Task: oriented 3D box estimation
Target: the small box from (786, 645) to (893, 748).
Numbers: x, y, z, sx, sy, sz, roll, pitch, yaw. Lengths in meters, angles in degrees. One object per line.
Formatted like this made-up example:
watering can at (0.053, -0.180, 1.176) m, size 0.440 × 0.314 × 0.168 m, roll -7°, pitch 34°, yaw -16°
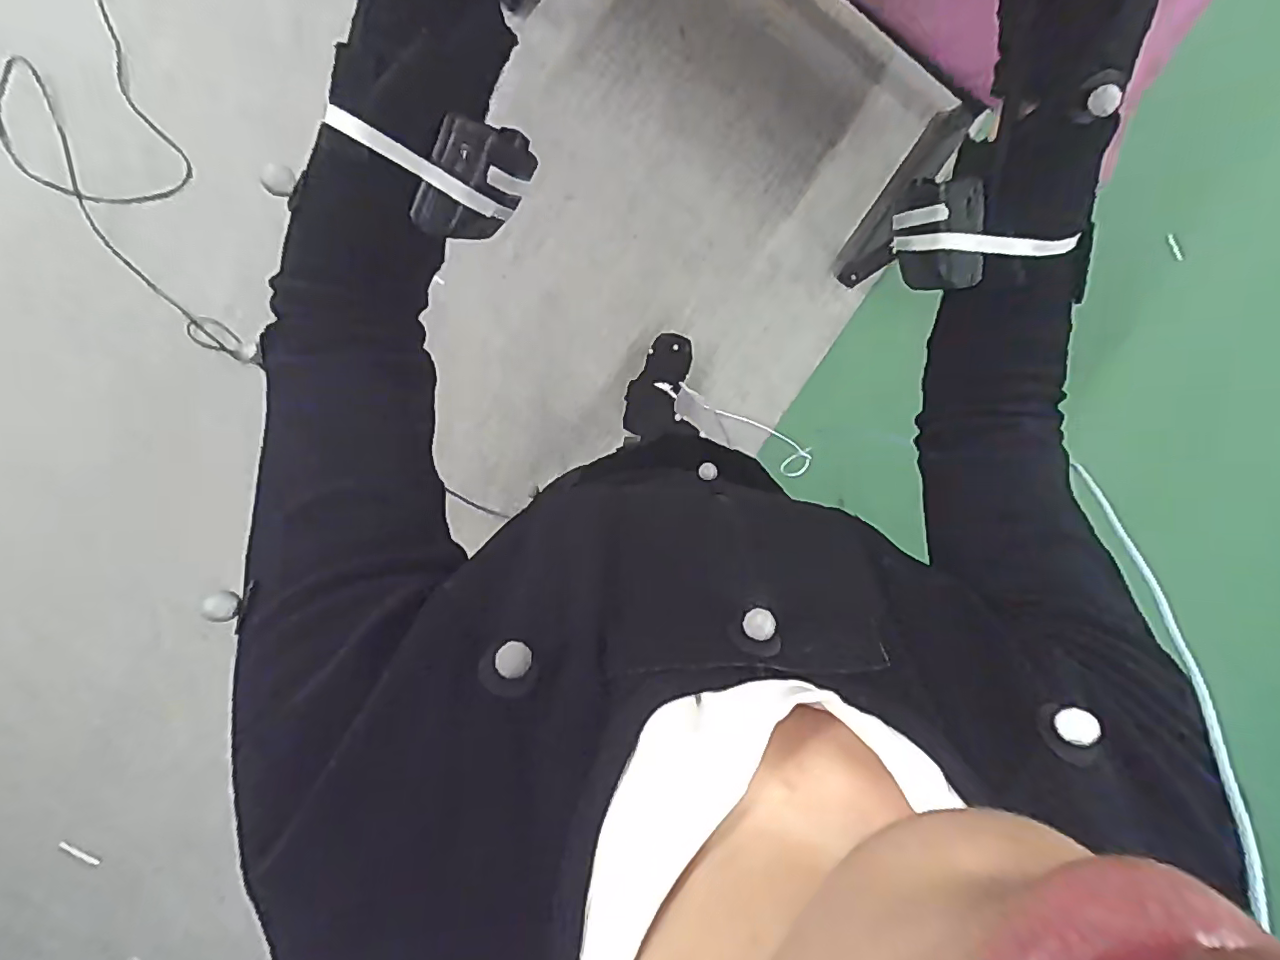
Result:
small box at (0.525, 0.569, 1.453) m, size 0.179 × 0.176 × 0.168 m, roll 38°, pitch 89°, yaw -6°
